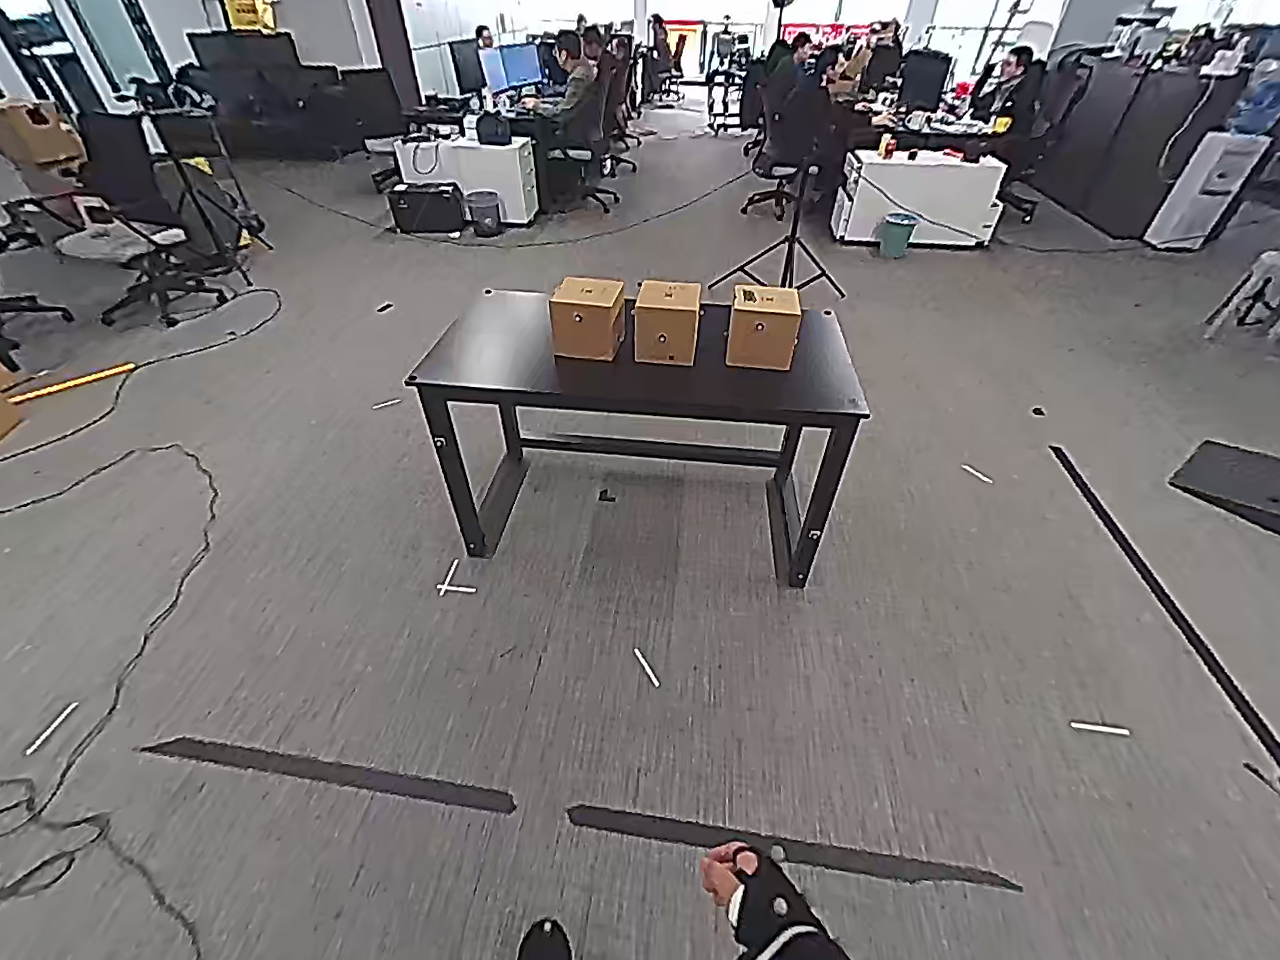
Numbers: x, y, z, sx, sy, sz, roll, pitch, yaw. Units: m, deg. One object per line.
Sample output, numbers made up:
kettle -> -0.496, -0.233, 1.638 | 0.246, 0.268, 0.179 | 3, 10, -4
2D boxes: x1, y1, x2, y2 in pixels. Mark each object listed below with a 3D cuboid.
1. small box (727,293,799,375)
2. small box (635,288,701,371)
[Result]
small box -> 0.340, -0.411, 1.523 | 0.179, 0.176, 0.168 | 6, 42, 6
small box -> 0.080, -0.427, 1.538 | 0.168, 0.176, 0.179 | 6, 42, 5
